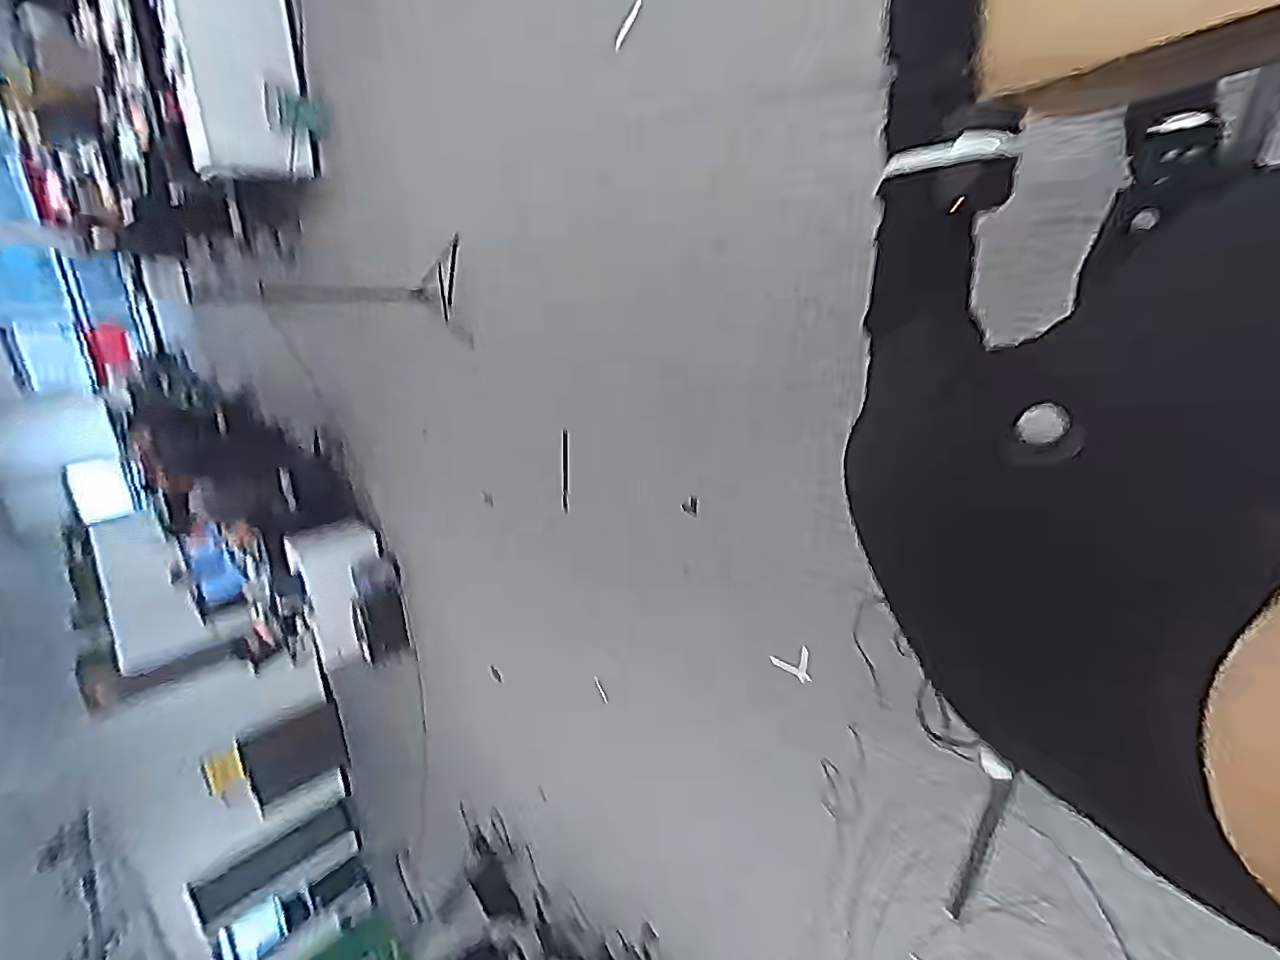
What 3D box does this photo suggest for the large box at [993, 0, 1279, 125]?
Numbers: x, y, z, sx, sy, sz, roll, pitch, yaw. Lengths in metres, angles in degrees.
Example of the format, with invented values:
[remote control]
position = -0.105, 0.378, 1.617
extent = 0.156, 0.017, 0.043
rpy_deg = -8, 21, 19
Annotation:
[large box]
position = 0.470, -0.459, 0.314
extent = 0.408, 0.320, 0.320
rpy_deg = 7, 117, 42
